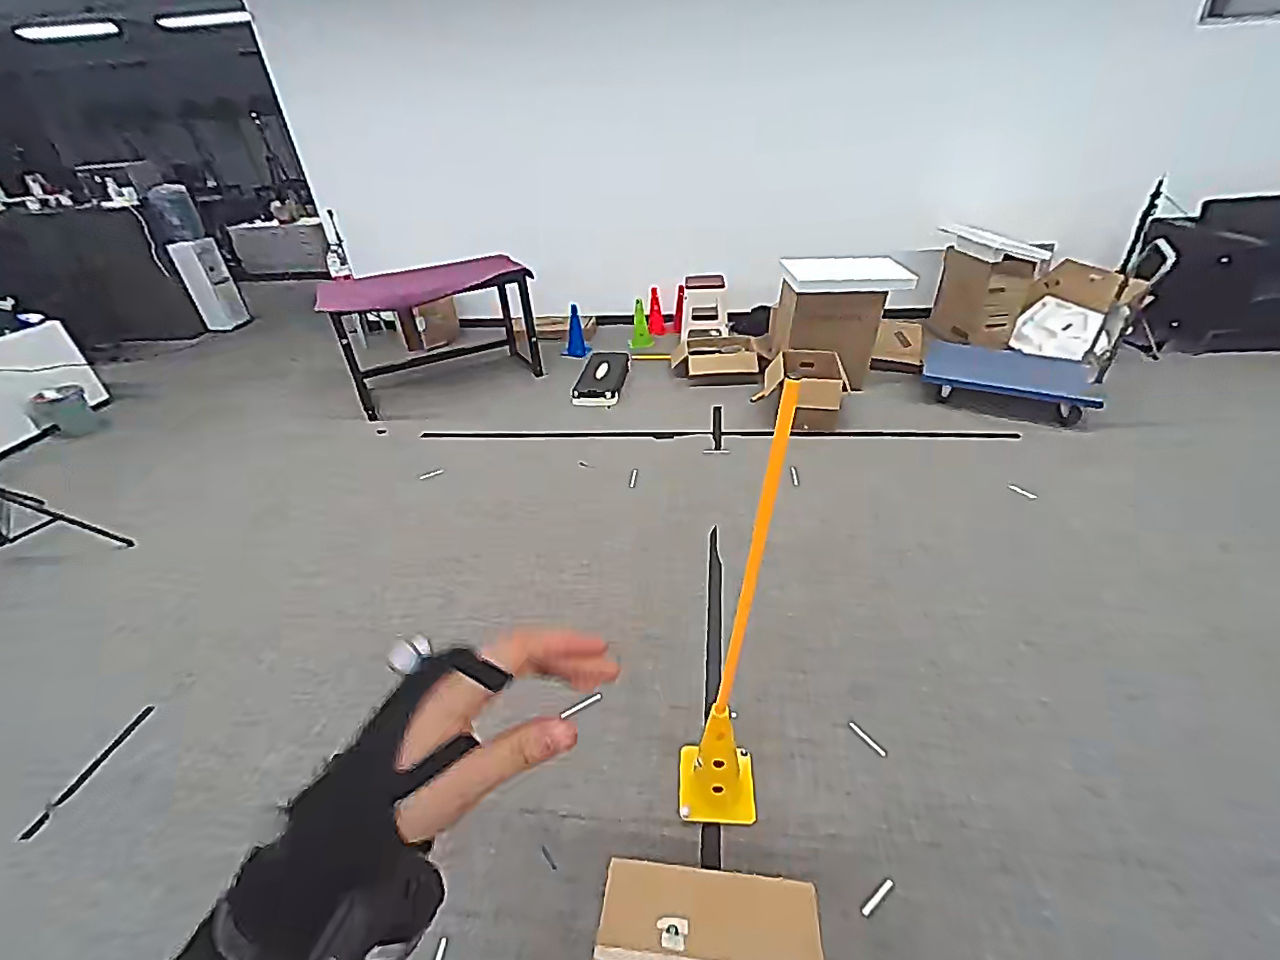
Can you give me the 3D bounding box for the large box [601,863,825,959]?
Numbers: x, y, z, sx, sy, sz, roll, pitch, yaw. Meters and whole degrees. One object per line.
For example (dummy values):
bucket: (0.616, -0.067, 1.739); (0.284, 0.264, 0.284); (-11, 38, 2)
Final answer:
large box: (0.138, 0.987, 1.029); (0.408, 0.320, 0.320); (0, 32, 8)
